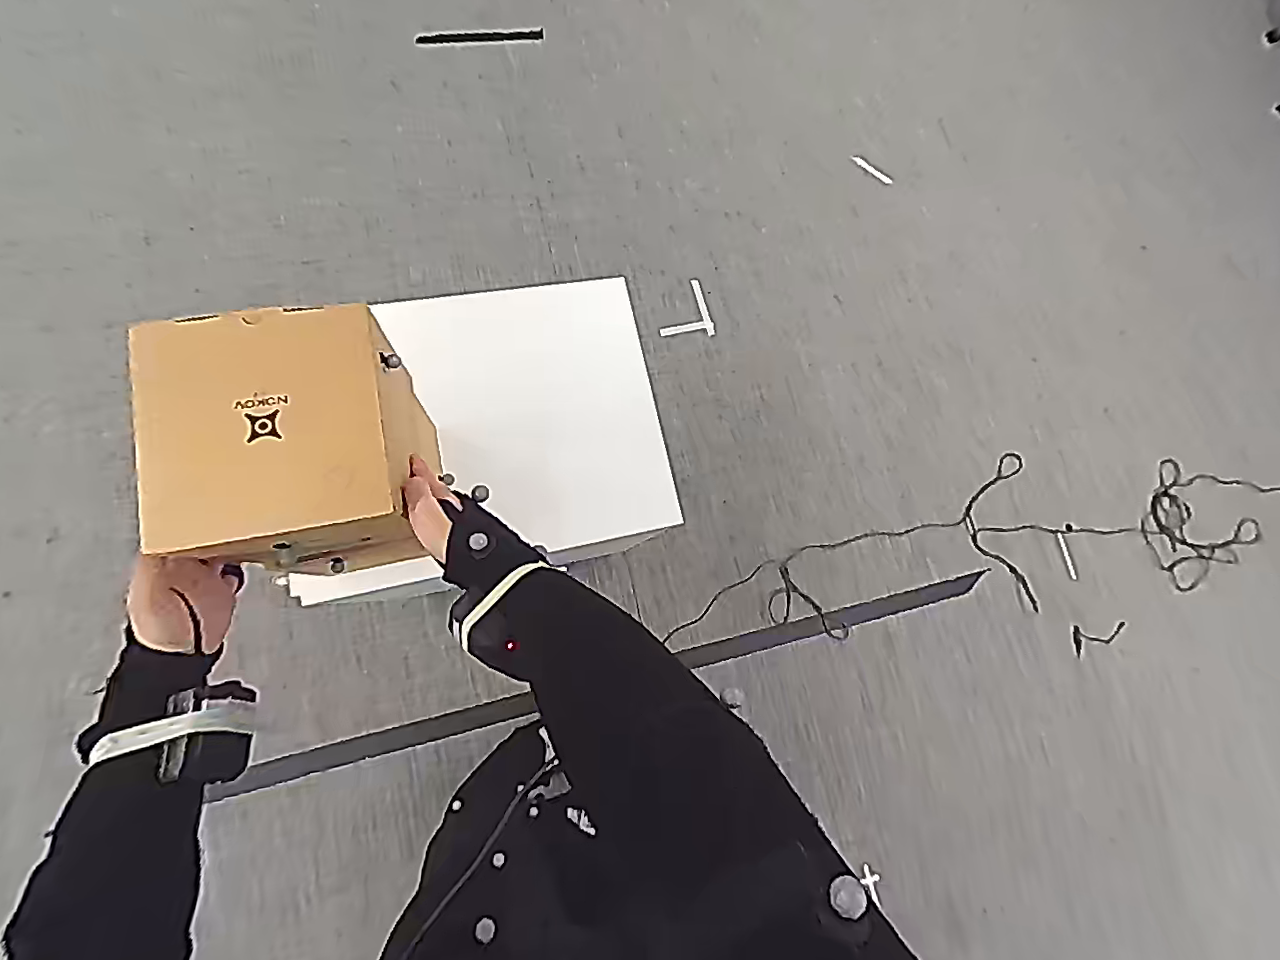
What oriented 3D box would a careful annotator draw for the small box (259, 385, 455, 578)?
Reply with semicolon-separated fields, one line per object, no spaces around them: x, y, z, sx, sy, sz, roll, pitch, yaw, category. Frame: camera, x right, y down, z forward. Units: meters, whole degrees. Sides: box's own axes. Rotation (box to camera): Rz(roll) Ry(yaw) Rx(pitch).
-0.323;0.010;0.632;0.168;0.176;0.179;-11;80;-13;small box

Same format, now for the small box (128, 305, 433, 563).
-0.292;-0.027;0.476;0.168;0.176;0.179;-10;81;-13;small box
